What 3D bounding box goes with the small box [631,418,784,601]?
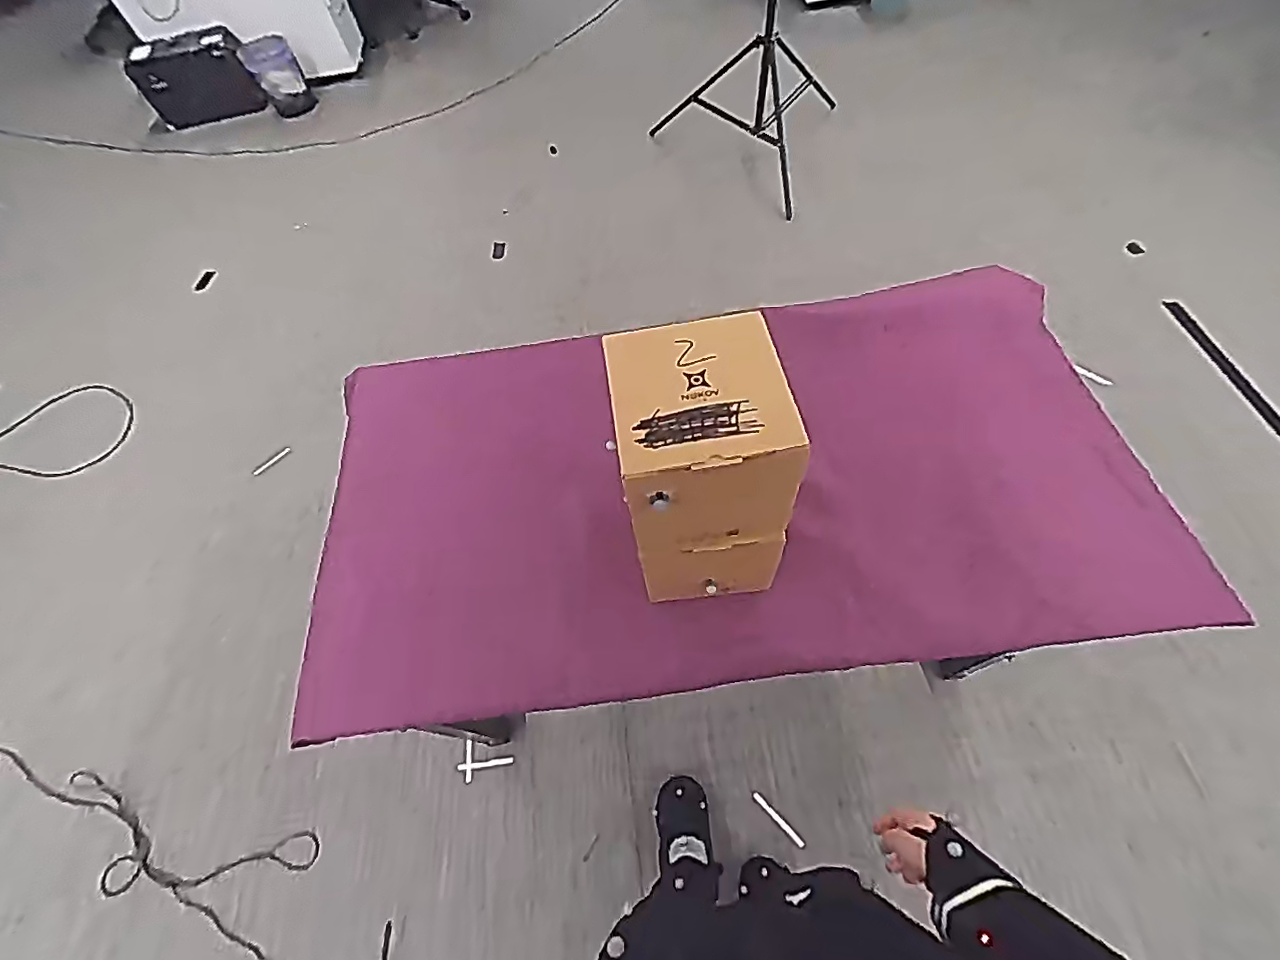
[{"bbox_3d":[0.080,0.044,0.716,0.168,0.176,0.179,-7,59,2],"label":"small box"}]
